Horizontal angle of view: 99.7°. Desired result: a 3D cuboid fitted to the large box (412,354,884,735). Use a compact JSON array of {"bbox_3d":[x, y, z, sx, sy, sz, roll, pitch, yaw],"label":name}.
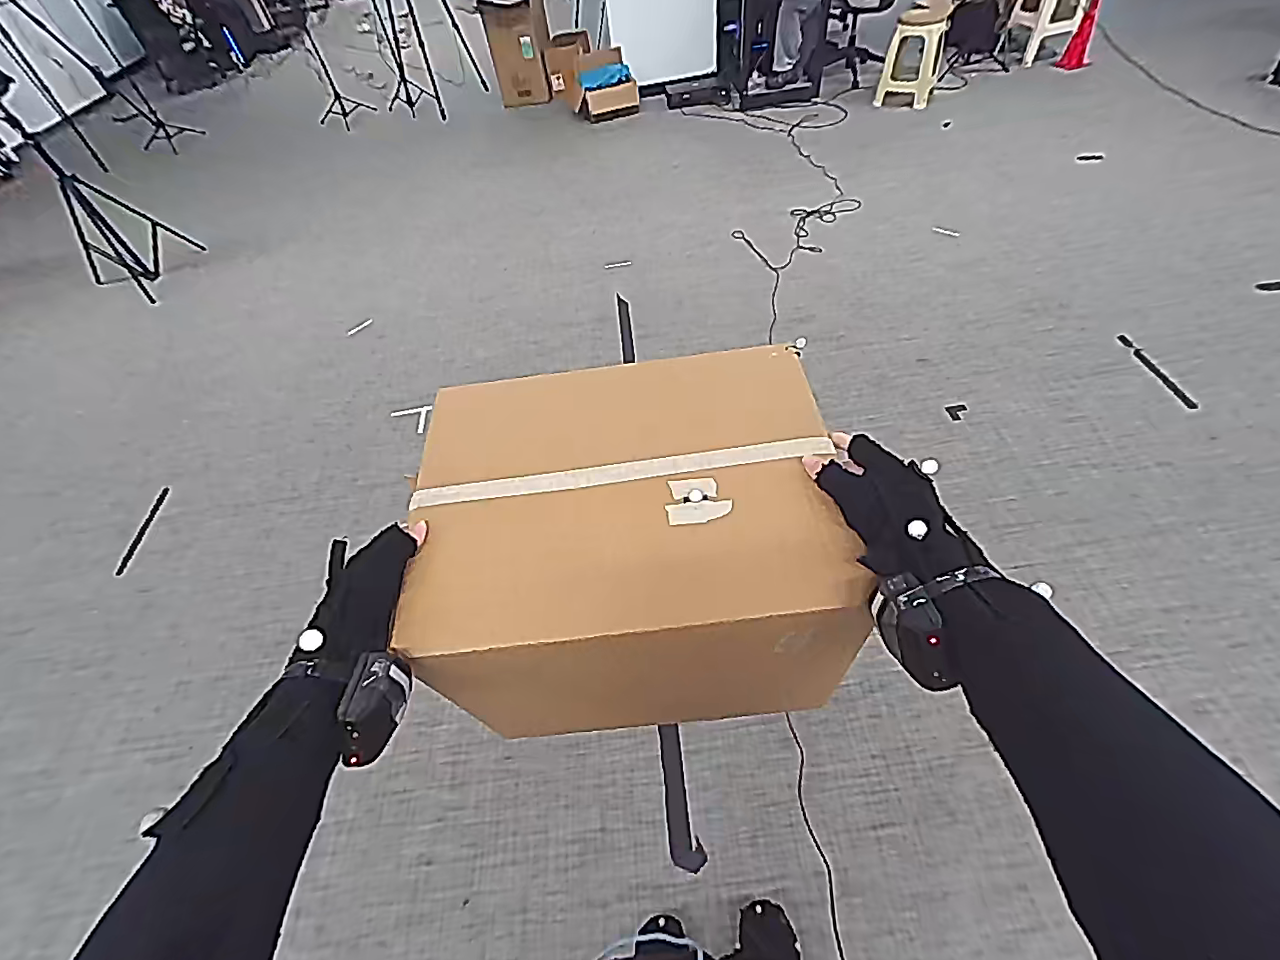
[{"bbox_3d":[0.004,0.089,0.651,0.408,0.320,0.320,-7,53,2],"label":"large box"}]
